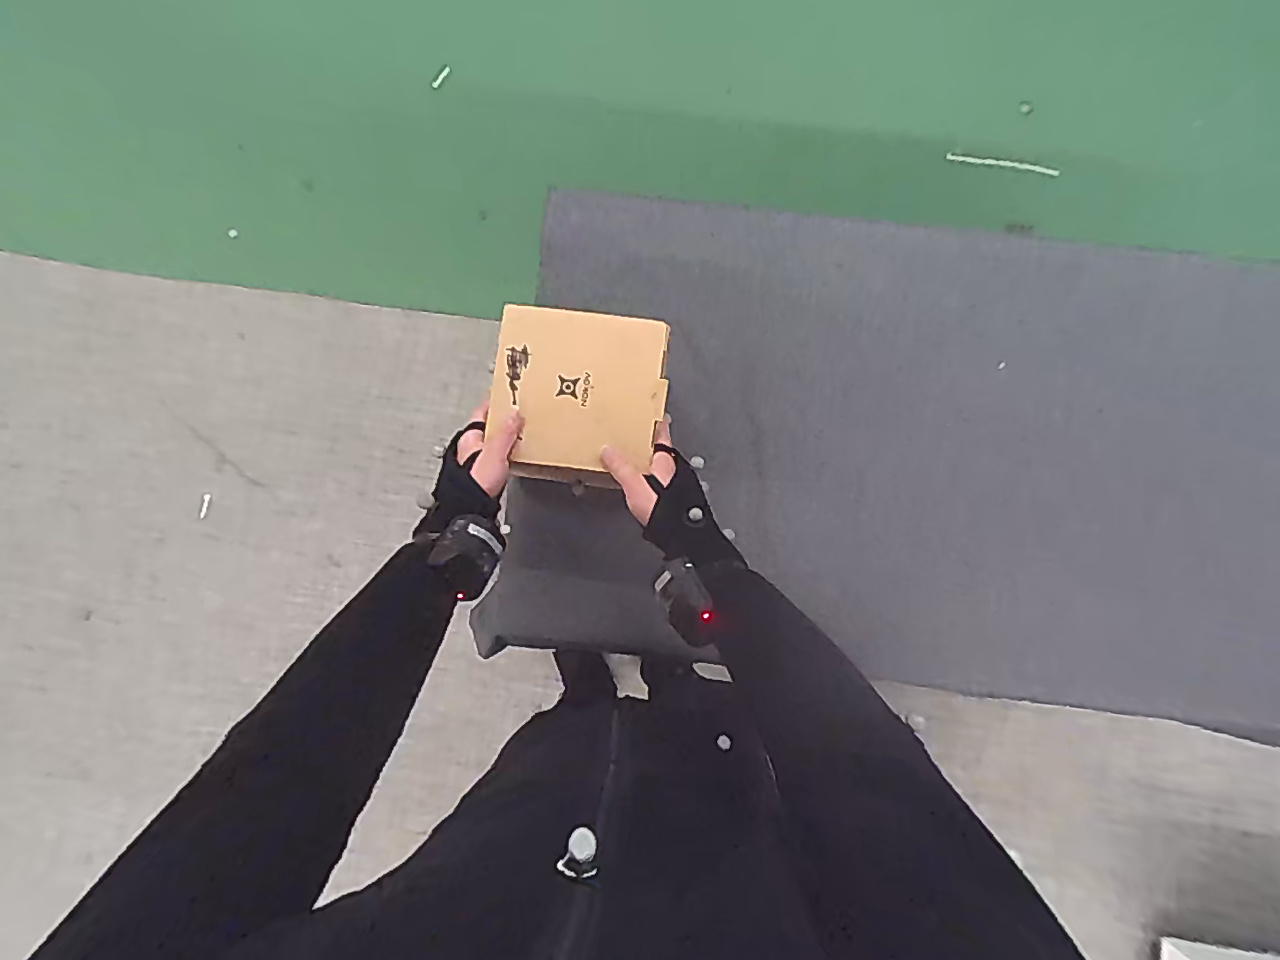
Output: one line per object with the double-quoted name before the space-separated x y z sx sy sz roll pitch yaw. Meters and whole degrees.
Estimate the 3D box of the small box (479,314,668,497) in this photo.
"small box" -0.068 -0.073 0.631 0.179 0.176 0.168 7 83 1
